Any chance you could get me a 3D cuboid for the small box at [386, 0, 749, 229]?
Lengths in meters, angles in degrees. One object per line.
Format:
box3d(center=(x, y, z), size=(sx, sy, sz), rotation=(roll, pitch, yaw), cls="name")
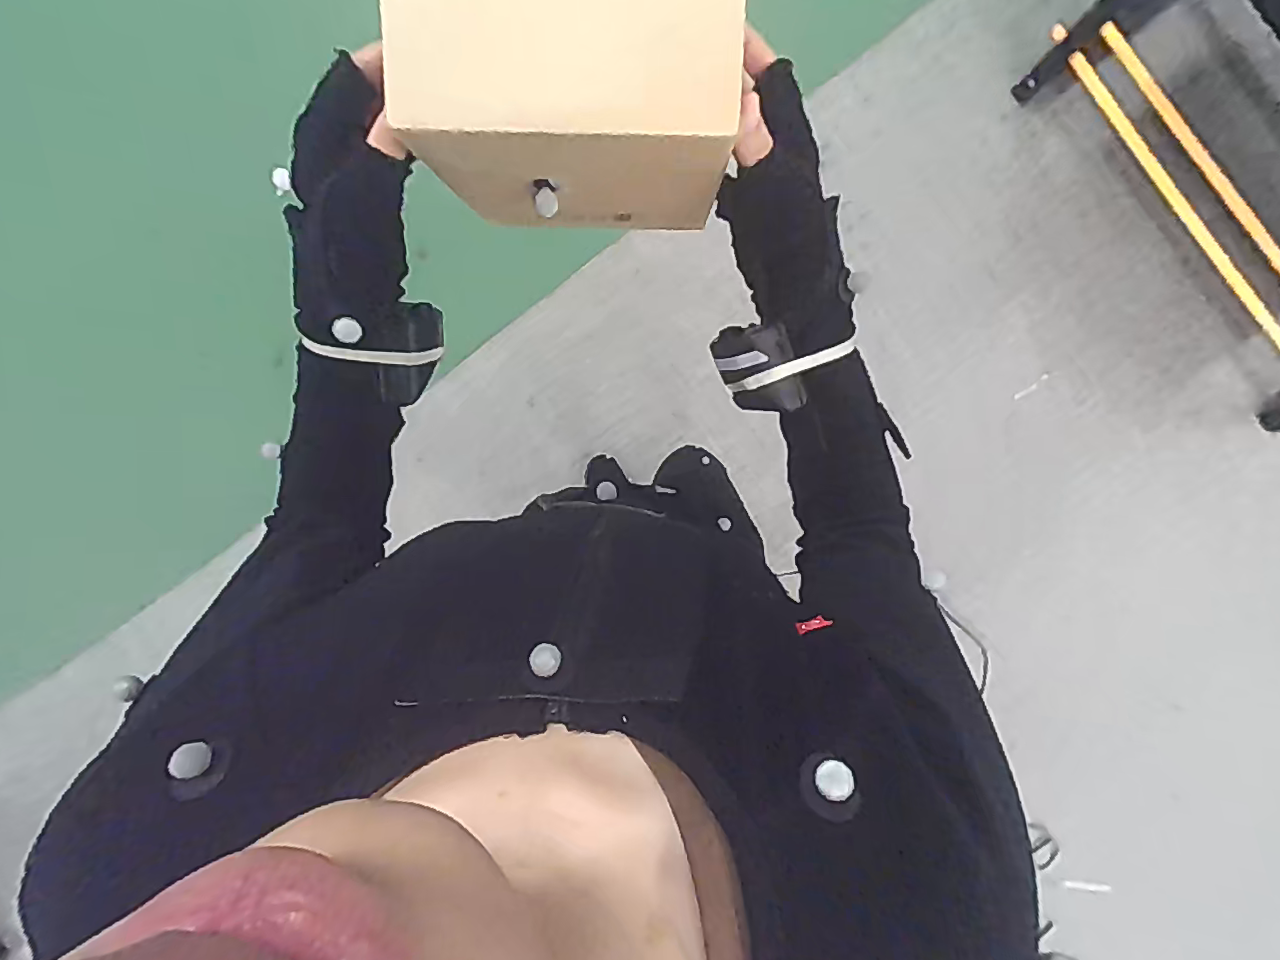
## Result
box3d(center=(-0.029, -0.259, 0.314), size=(0.168, 0.176, 0.179), rotation=(2, 99, 1), cls="small box")
